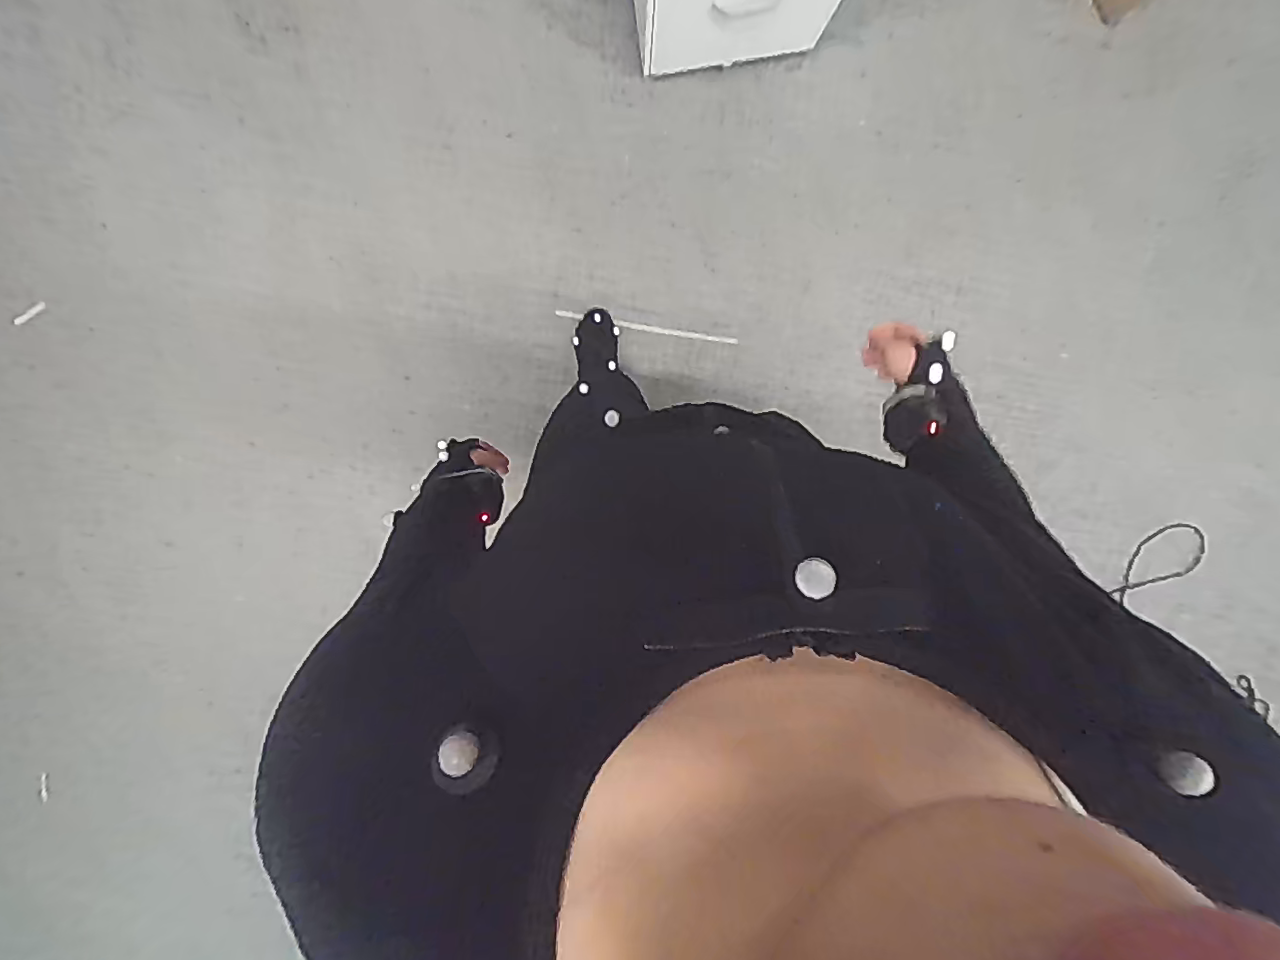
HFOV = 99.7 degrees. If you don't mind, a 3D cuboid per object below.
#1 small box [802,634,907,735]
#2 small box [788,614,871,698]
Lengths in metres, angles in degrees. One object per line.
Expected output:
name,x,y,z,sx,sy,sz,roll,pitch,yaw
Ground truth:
small box,0.517,0.494,1.325,0.179,0.176,0.168,5,100,-1
small box,0.517,0.482,1.489,0.179,0.176,0.168,1,101,-2
